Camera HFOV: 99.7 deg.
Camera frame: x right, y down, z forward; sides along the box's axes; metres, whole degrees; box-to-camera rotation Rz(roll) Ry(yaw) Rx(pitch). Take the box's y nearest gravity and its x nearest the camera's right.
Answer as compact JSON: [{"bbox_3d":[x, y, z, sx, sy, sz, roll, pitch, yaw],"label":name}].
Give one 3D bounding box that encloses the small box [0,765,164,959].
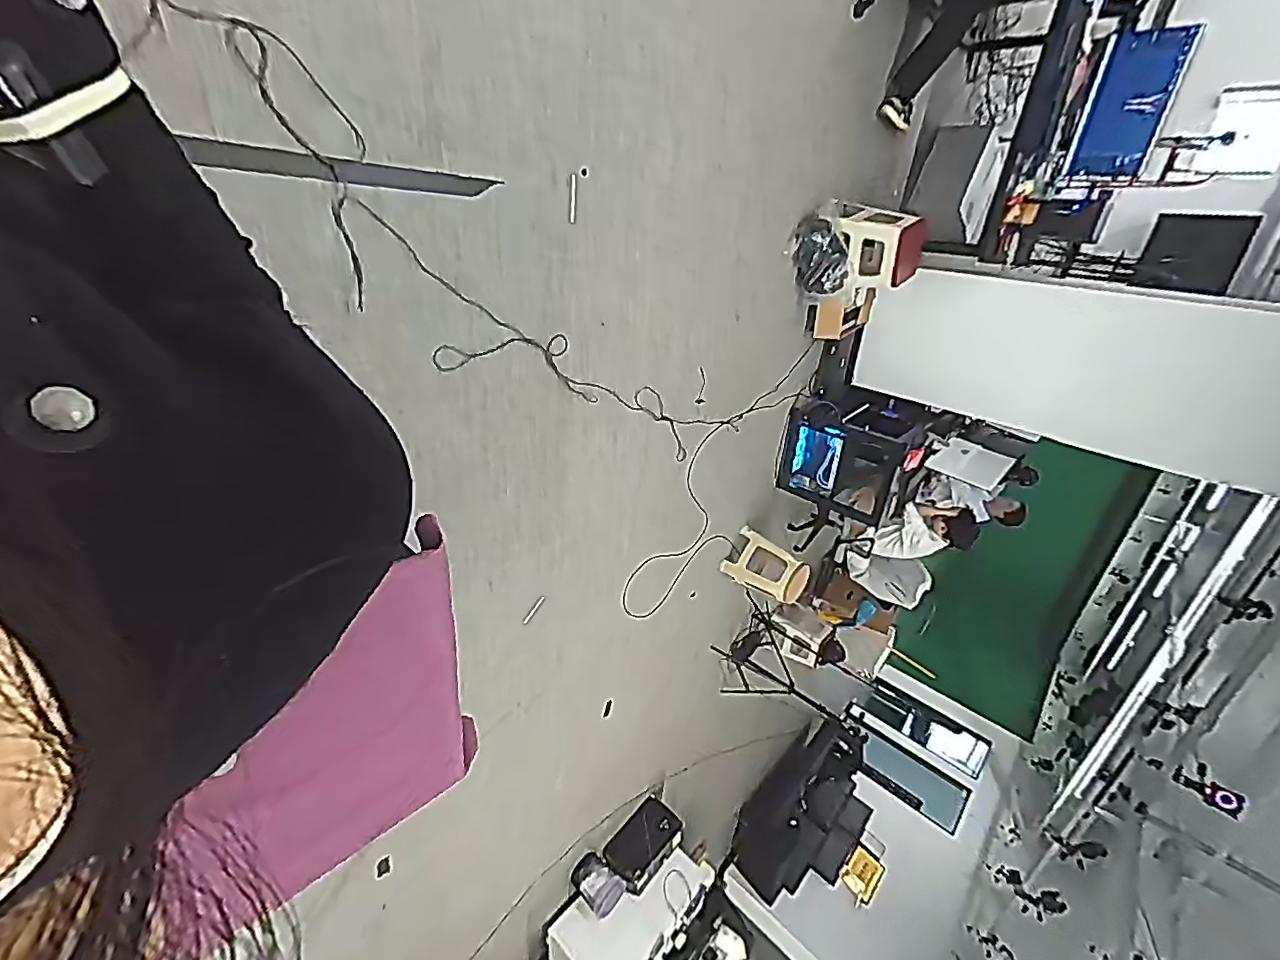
[{"bbox_3d":[-0.691,0.479,0.625,0.168,0.176,0.179,-21,126,-46],"label":"small box"}]
